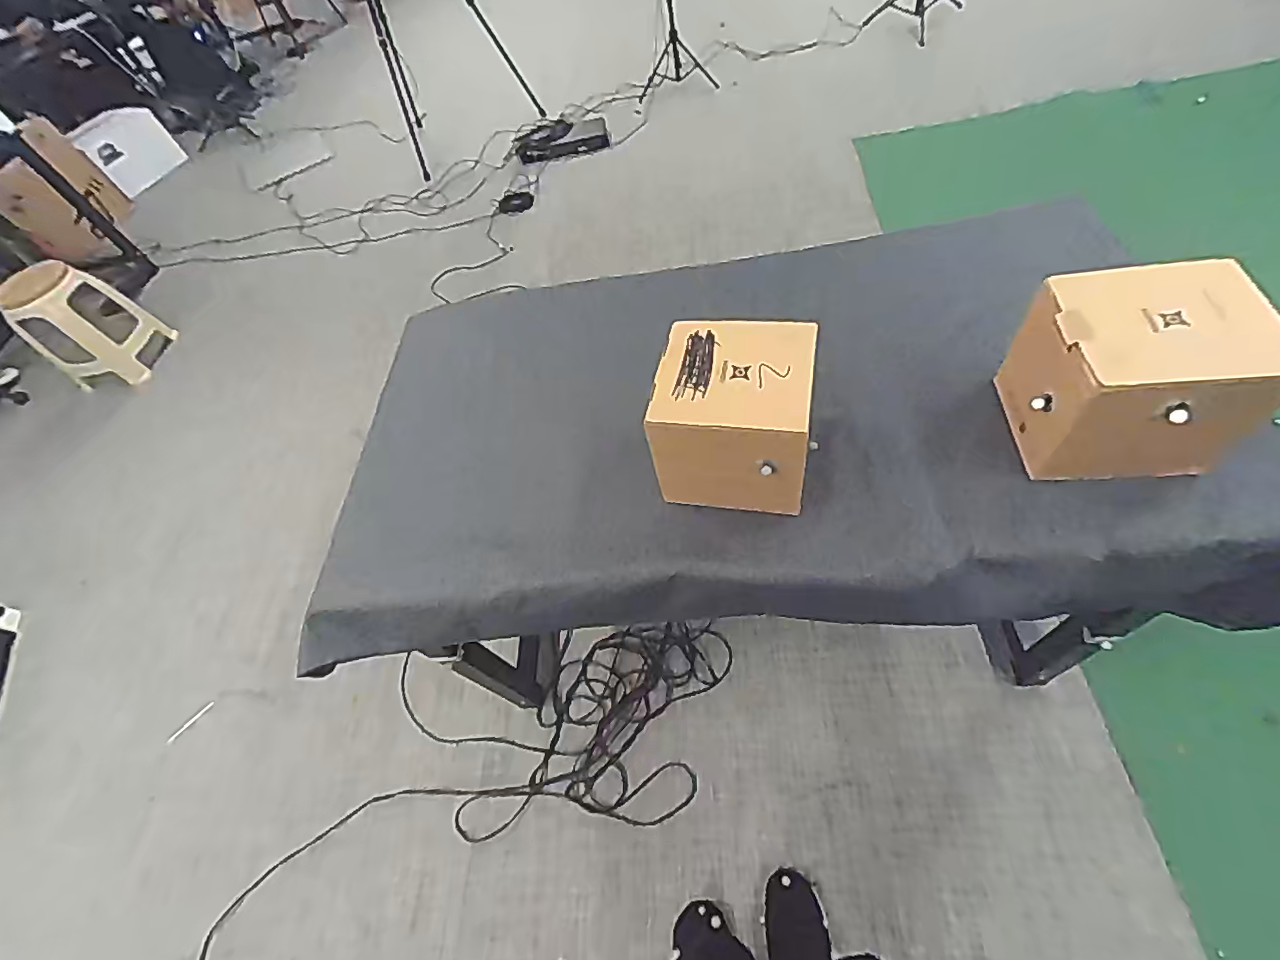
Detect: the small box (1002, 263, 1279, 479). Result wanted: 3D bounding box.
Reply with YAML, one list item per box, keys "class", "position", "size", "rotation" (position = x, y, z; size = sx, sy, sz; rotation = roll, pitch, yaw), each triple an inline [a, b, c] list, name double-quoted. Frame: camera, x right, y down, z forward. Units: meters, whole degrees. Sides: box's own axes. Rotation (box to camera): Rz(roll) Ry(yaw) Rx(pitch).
- class: "small box"
  position: [0.535, -0.111, 0.603]
  size: [0.179, 0.176, 0.168]
  rotation: [-1, 57, 12]
